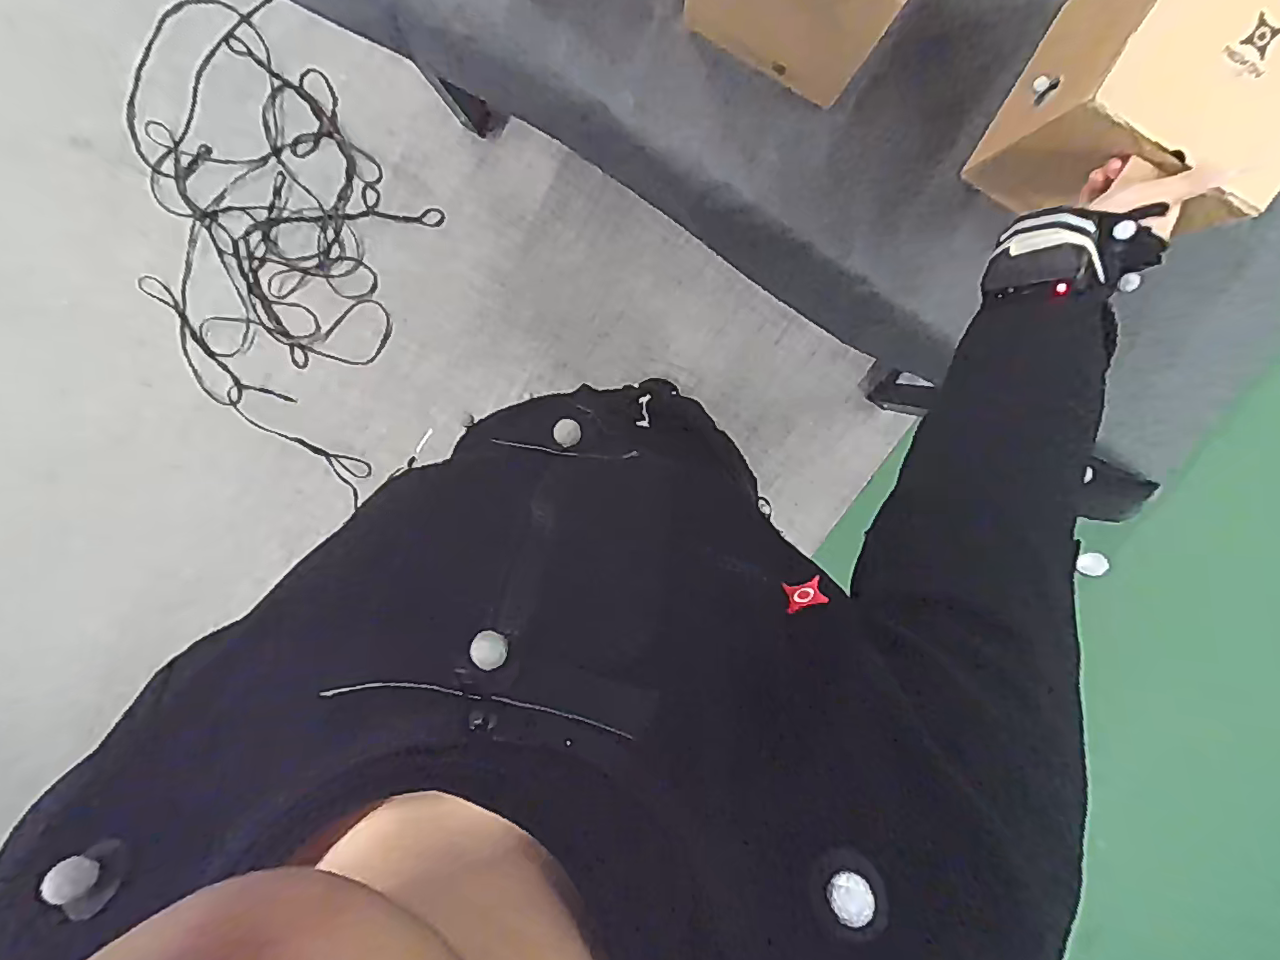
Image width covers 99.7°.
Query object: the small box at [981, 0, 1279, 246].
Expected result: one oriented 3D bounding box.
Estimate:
[{"bbox_3d":[0.438,-0.329,0.460,0.168,0.176,0.179,27,100,-7],"label":"small box"}]
